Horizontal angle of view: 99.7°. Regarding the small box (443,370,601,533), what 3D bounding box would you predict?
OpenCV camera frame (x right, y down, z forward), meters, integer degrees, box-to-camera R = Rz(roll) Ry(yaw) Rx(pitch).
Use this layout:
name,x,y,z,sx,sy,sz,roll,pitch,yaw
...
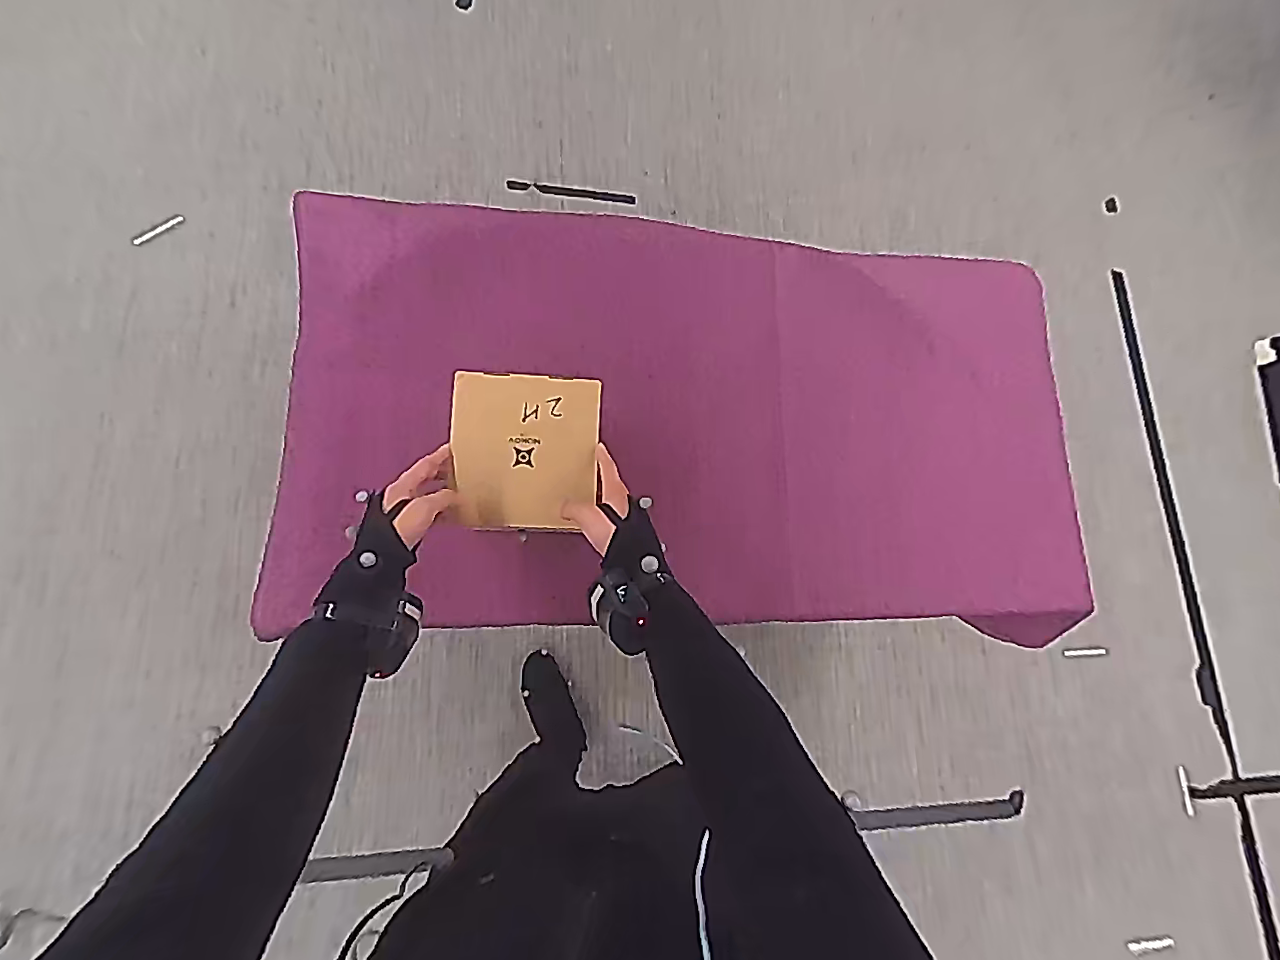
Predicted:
name,x,y,z,sx,sy,sz,roll,pitch,yaw
small box,-0.138,-0.024,0.682,0.168,0.176,0.179,3,83,-7
